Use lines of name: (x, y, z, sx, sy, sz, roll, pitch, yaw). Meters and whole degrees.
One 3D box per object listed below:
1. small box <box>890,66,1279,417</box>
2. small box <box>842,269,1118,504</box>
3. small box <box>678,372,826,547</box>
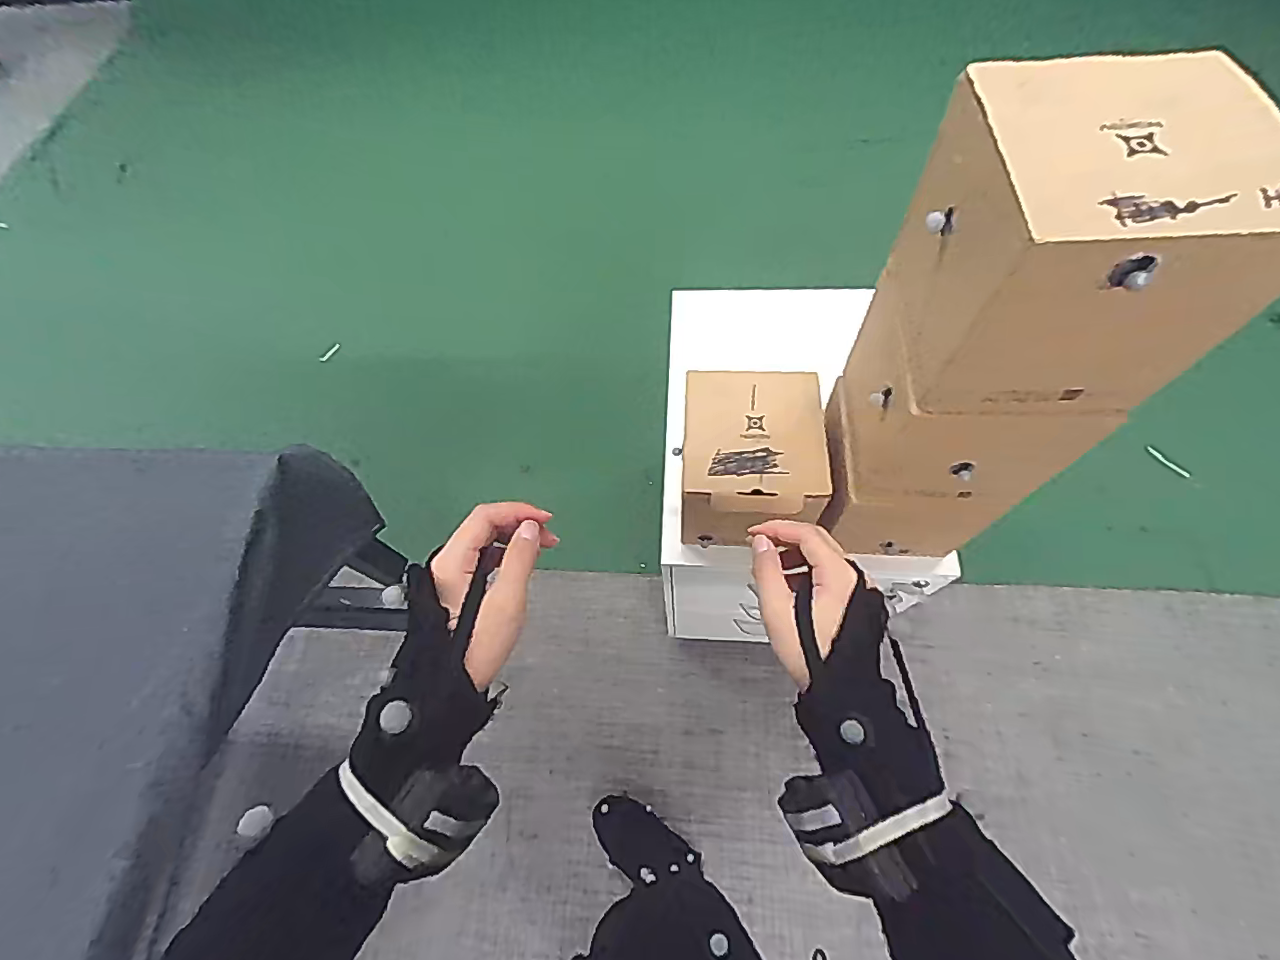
small box: (0.306, -0.167, 0.402, 0.168, 0.176, 0.179, 0, 63, 5)
small box: (0.313, -0.086, 0.545, 0.168, 0.176, 0.179, 3, 63, 5)
small box: (0.136, -0.020, 0.709, 0.168, 0.176, 0.179, 3, 63, 4)
